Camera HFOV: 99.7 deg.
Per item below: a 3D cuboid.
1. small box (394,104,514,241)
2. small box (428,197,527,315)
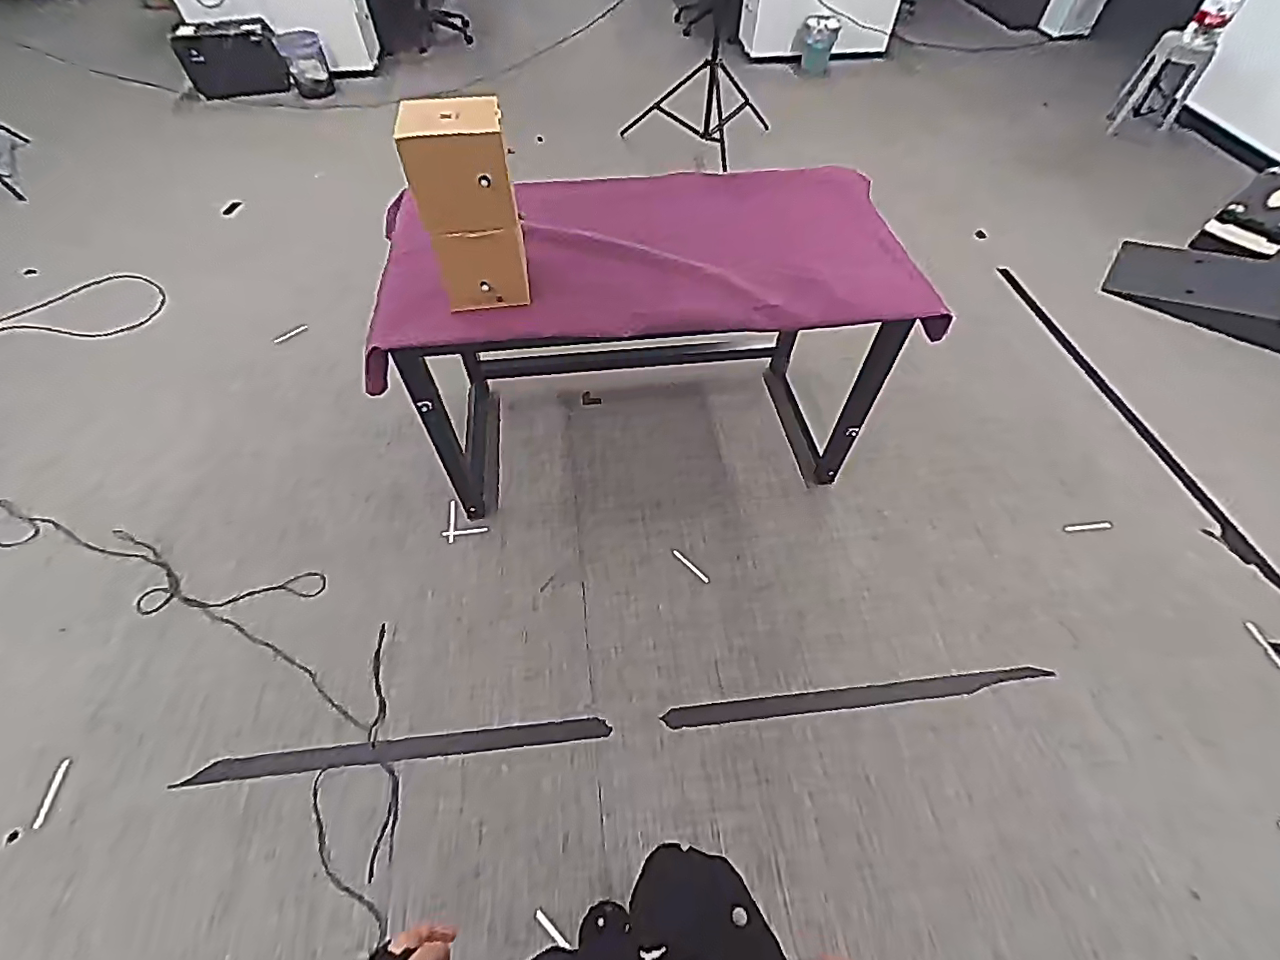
[{"bbox_3d":[-0.335,-0.569,1.008,0.179,0.176,0.168,-9,53,-6],"label":"small box"},{"bbox_3d":[-0.335,-0.474,1.139,0.168,0.176,0.179,-8,55,-6],"label":"small box"}]
